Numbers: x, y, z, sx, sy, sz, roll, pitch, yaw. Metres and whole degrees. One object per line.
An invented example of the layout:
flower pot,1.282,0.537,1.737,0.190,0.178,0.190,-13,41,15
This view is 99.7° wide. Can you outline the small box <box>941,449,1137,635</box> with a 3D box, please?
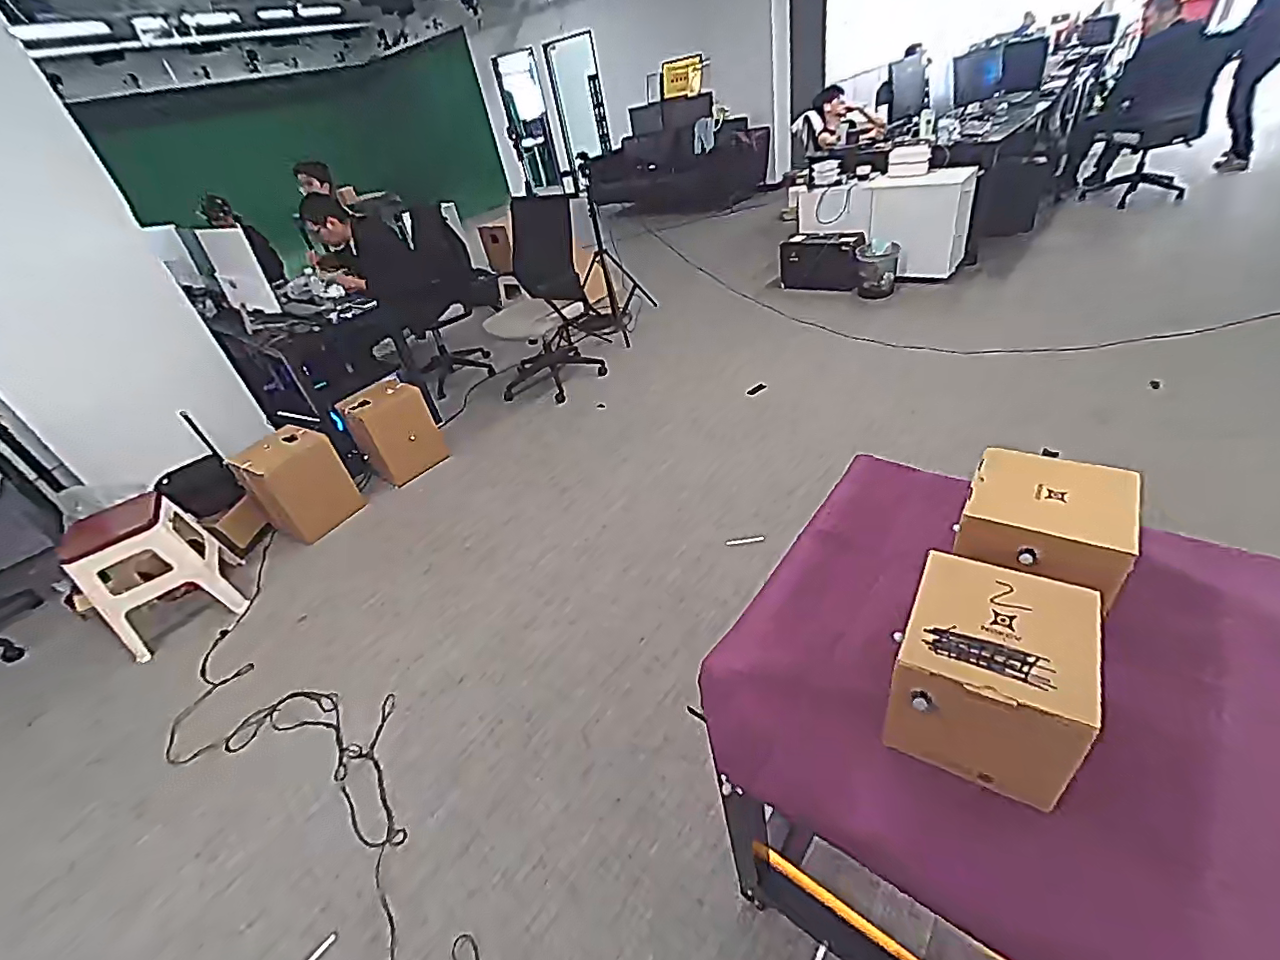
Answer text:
small box,0.541,0.085,0.747,0.179,0.176,0.168,16,45,33
